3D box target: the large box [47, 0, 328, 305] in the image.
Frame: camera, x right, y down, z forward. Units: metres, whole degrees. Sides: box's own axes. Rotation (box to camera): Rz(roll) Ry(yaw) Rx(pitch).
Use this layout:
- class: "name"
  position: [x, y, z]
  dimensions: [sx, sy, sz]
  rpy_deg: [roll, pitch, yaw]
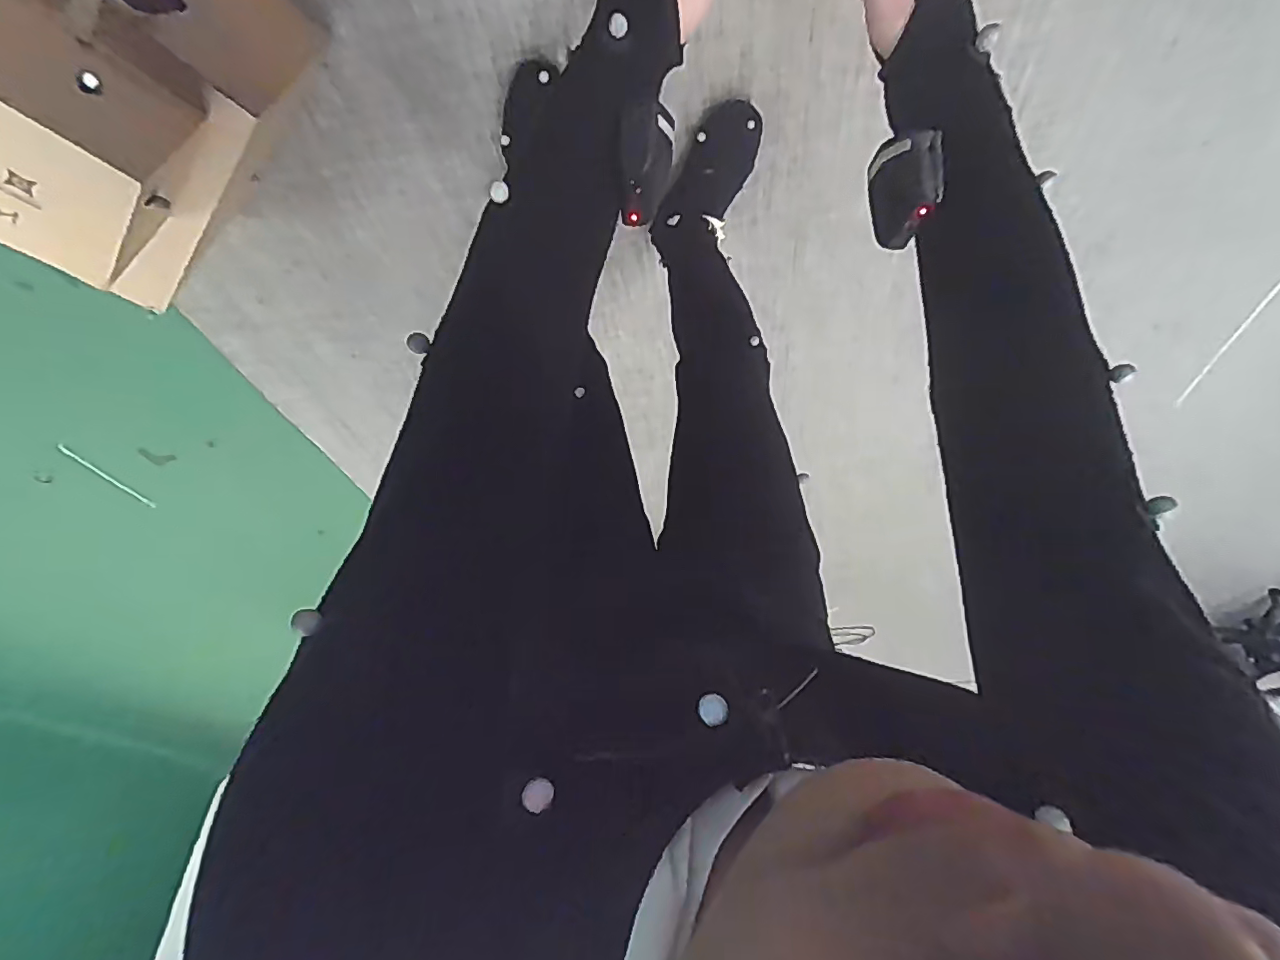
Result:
- class: "large box"
  position: [-0.704, -0.541, 0.743]
  dimensions: [0.408, 0.320, 0.320]
  rpy_deg: [-30, 135, 32]

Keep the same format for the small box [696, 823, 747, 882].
- class: "small box"
  position: [0.296, 1.367, 1.982]
  dimensions: [0.168, 0.176, 0.179]
  rpy_deg: [-7, 142, 4]

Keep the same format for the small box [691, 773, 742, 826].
- class: "small box"
  position: [0.293, 1.233, 2.079]
  dimensions: [0.168, 0.176, 0.179]
  rpy_deg: [-10, 143, 7]

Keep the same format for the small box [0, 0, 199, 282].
- class: "small box"
  position: [-0.615, -0.362, 0.577]
  dimensions: [0.179, 0.176, 0.168]
  rpy_deg: [-31, 136, 31]
